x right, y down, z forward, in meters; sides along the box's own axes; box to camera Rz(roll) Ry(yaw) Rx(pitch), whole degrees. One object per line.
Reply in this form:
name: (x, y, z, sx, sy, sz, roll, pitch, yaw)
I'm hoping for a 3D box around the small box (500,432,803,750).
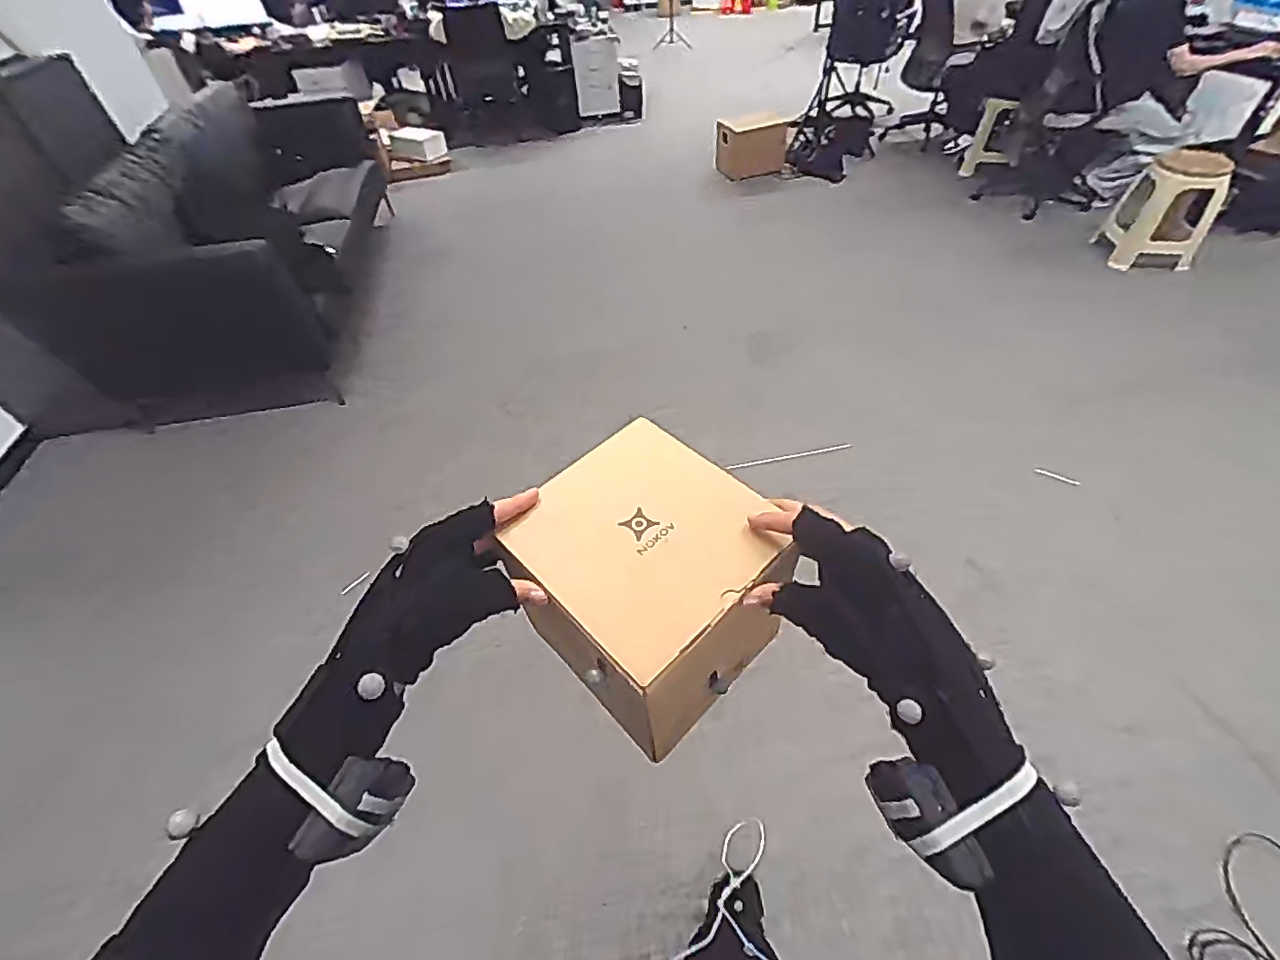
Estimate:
small box: (0.009, 0.096, 0.470, 0.168, 0.176, 0.179, -37, 57, -25)
